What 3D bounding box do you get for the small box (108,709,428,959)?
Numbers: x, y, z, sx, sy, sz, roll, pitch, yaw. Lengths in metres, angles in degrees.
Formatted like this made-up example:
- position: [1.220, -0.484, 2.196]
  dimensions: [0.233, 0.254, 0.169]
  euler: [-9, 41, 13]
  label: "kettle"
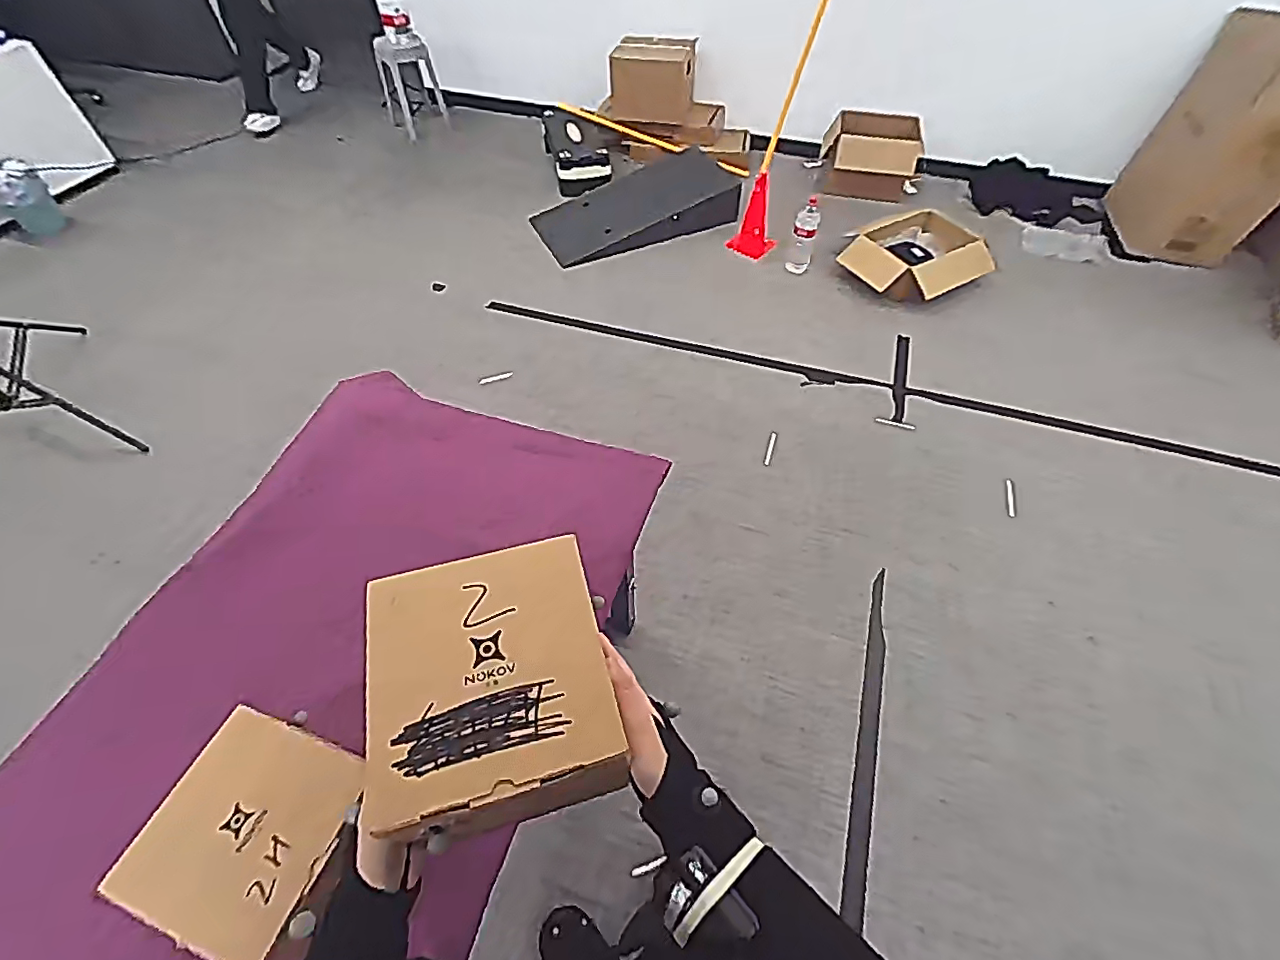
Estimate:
- position: [-0.358, 0.368, 0.561]
  dimensions: [0.179, 0.176, 0.168]
  euler: [16, 56, 12]
  label: "small box"
